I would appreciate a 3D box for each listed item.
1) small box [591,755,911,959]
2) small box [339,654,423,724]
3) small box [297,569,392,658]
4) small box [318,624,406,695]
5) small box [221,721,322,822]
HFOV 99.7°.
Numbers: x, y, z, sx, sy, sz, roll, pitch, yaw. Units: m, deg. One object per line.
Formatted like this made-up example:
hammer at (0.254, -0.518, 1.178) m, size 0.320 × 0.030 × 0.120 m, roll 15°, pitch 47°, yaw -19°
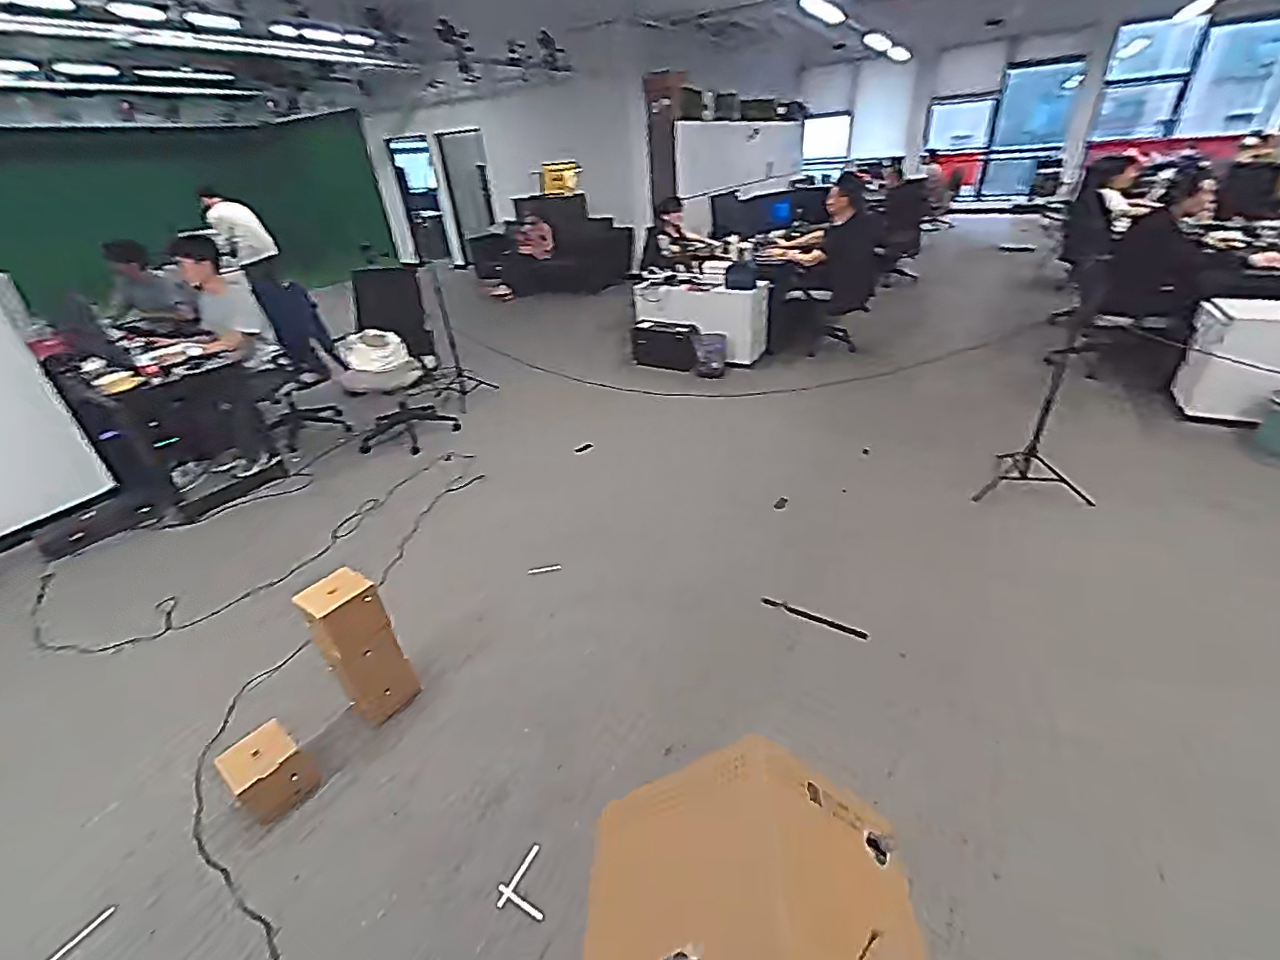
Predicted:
small box at (0.073, 0.329, 0.383) m, size 0.179 × 0.168 × 0.176 m, roll -41°, pitch 22°, yaw 26°
small box at (-0.872, 0.688, 1.835) m, size 0.168 × 0.176 × 0.179 m, roll 17°, pitch 37°, yaw 31°
small box at (-0.900, 0.411, 1.661) m, size 0.168 × 0.176 × 0.179 m, roll 15°, pitch 36°, yaw 31°
small box at (-0.888, 0.552, 1.742) m, size 0.168 × 0.176 × 0.179 m, roll 18°, pitch 37°, yaw 33°
small box at (-1.072, 0.858, 1.584) m, size 0.179 × 0.176 × 0.168 m, roll 18°, pitch 37°, yaw 34°
